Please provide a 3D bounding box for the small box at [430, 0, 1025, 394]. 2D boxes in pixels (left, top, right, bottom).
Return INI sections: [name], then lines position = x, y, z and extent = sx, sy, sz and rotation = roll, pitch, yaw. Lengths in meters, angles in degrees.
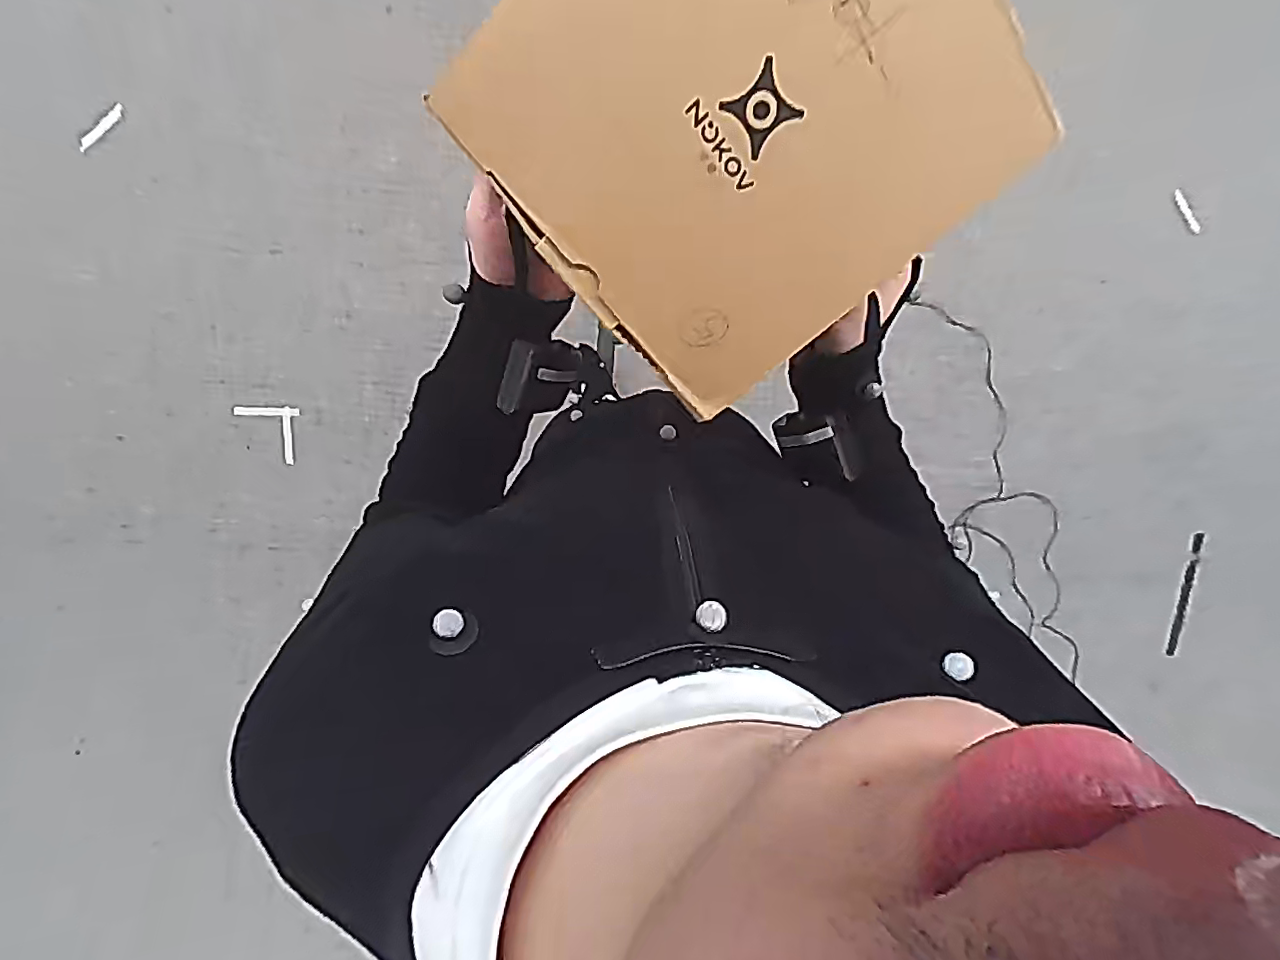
[small box]
position = 0.033, -0.178, 0.280
extent = 0.179, 0.176, 0.168
rotation = -39, 112, 14
